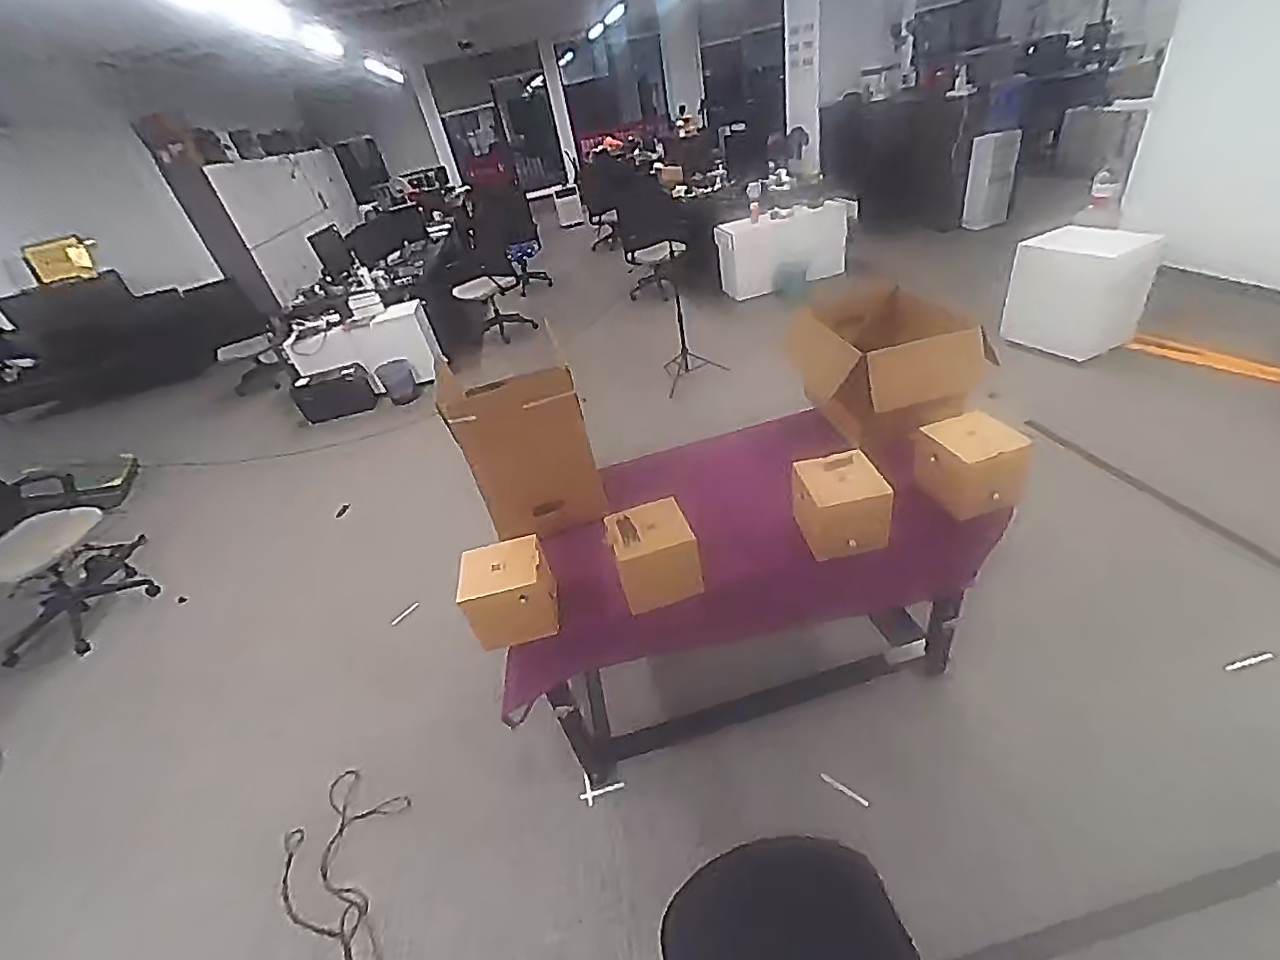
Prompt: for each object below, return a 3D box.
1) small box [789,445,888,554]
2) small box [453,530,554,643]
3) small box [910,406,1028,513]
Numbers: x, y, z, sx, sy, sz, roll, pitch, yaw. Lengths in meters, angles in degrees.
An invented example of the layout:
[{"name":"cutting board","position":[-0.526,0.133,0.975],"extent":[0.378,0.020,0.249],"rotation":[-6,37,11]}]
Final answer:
[{"name":"small box","position":[0.454,0.046,1.266],"extent":[0.168,0.176,0.179],"rotation":[-12,37,1]},{"name":"small box","position":[-0.304,0.245,1.230],"extent":[0.179,0.176,0.168],"rotation":[-14,35,-3]},{"name":"small box","position":[0.772,-0.048,1.293],"extent":[0.168,0.176,0.179],"rotation":[-17,36,-4]}]
